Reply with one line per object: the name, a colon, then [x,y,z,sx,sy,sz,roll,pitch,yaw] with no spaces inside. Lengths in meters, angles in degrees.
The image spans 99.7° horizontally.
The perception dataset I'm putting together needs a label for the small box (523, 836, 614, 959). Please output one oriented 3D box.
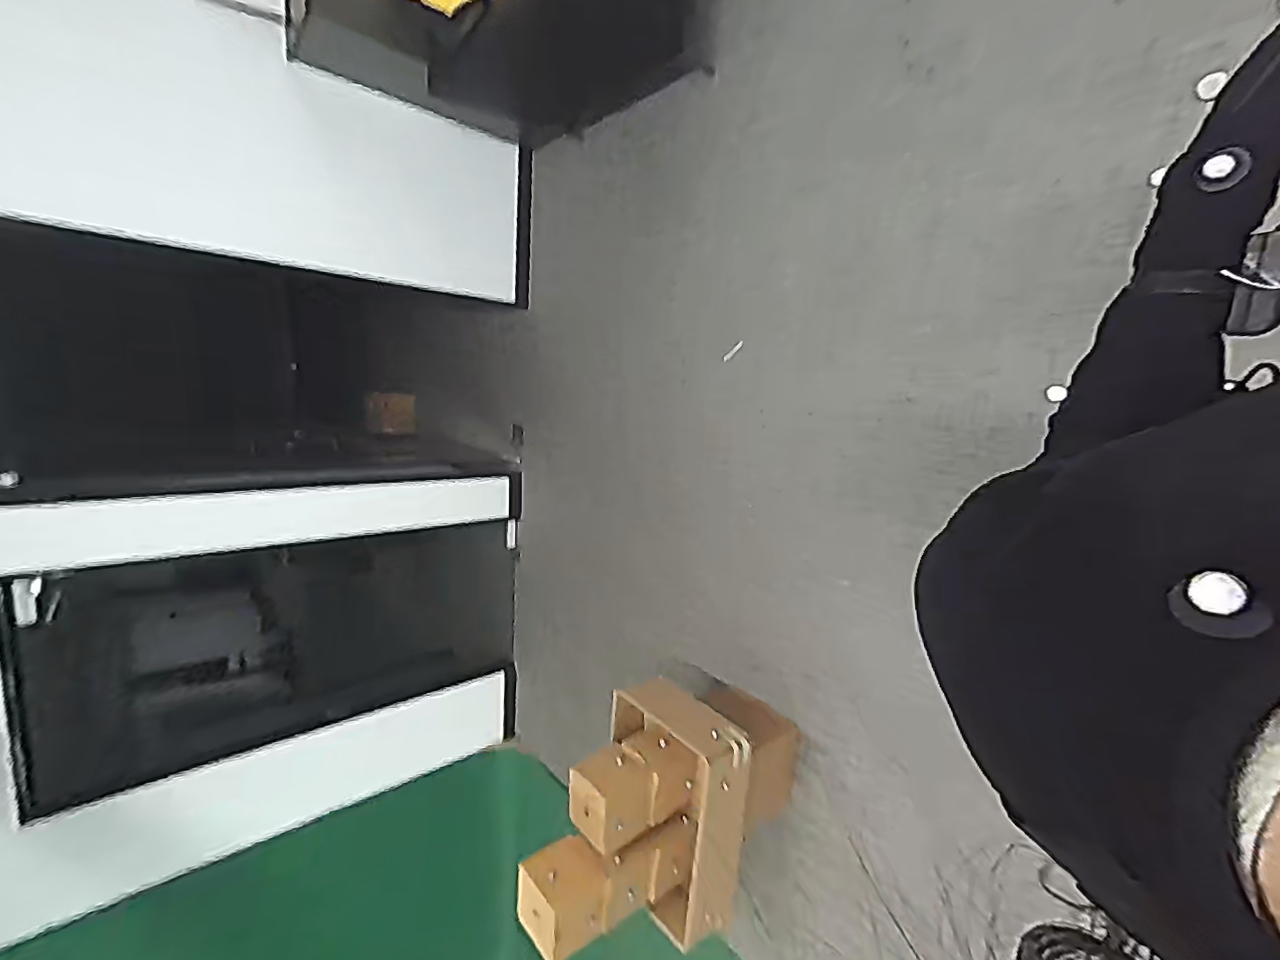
small box: [-0.192,1.094,1.439,0.179,0.176,0.168,14,103,48]
